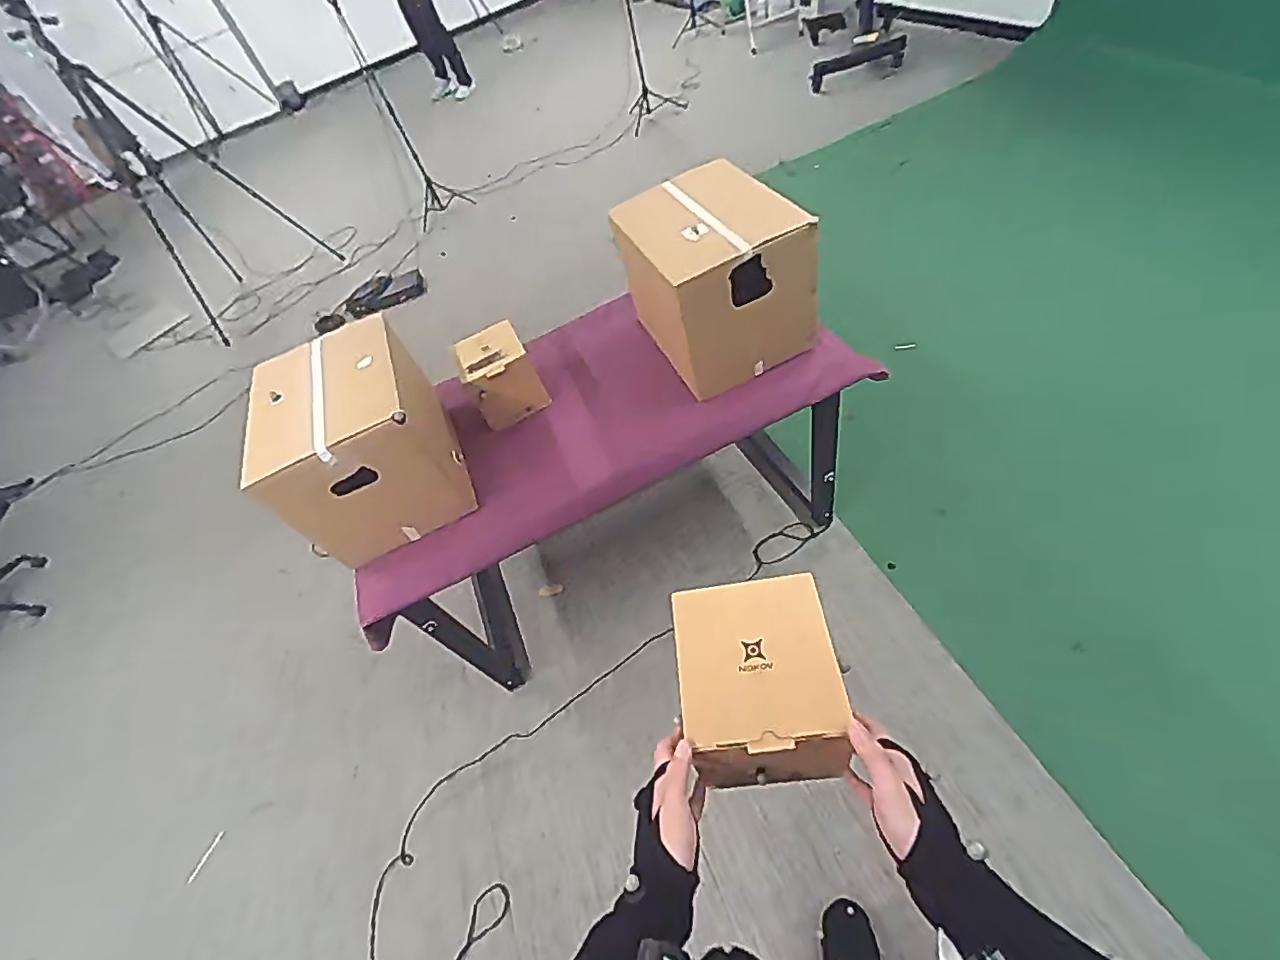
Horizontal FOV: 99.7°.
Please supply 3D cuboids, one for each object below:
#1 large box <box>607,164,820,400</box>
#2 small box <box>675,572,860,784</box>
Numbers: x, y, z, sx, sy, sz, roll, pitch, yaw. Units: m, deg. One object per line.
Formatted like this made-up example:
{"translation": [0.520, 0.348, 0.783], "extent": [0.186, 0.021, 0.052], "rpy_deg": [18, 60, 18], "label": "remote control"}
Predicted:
{"translation": [0.167, -0.463, 1.261], "extent": [0.320, 0.320, 0.408], "rpy_deg": [-27, 51, -3], "label": "large box"}
{"translation": [0.137, 0.232, 0.627], "extent": [0.168, 0.176, 0.179], "rpy_deg": [-10, 50, 7], "label": "small box"}
